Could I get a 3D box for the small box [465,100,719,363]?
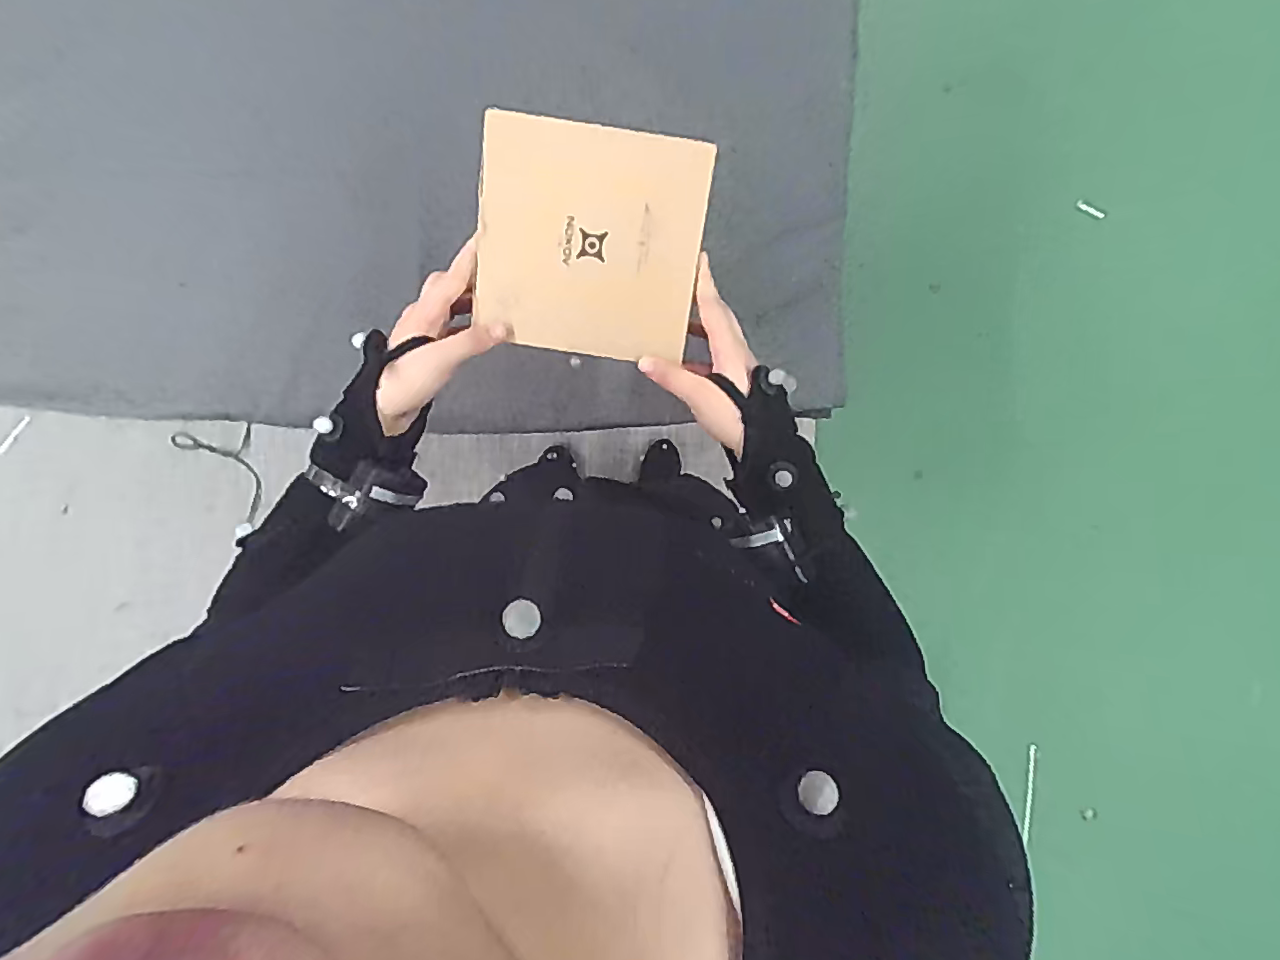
[{"bbox_3d":[-0.038,-0.202,0.481,0.179,0.176,0.168,8,106,-1],"label":"small box"}]
